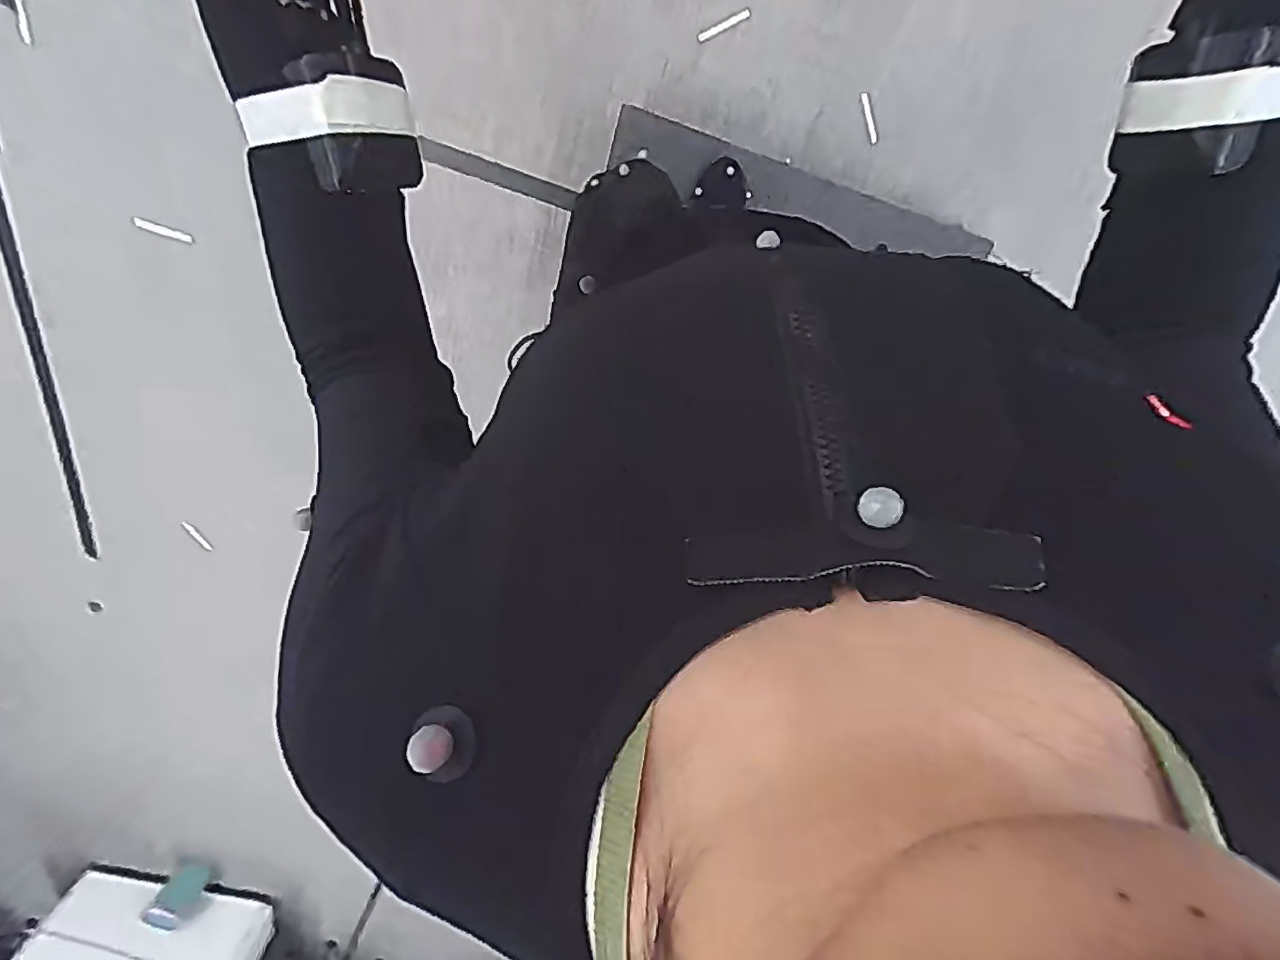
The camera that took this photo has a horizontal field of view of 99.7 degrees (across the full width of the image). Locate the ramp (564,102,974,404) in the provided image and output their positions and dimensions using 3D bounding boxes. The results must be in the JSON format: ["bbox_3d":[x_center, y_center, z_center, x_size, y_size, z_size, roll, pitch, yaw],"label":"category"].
[{"bbox_3d":[0.342,-0.520,1.393,0.991,0.206,0.509,14,118,-6],"label":"ramp"}]
